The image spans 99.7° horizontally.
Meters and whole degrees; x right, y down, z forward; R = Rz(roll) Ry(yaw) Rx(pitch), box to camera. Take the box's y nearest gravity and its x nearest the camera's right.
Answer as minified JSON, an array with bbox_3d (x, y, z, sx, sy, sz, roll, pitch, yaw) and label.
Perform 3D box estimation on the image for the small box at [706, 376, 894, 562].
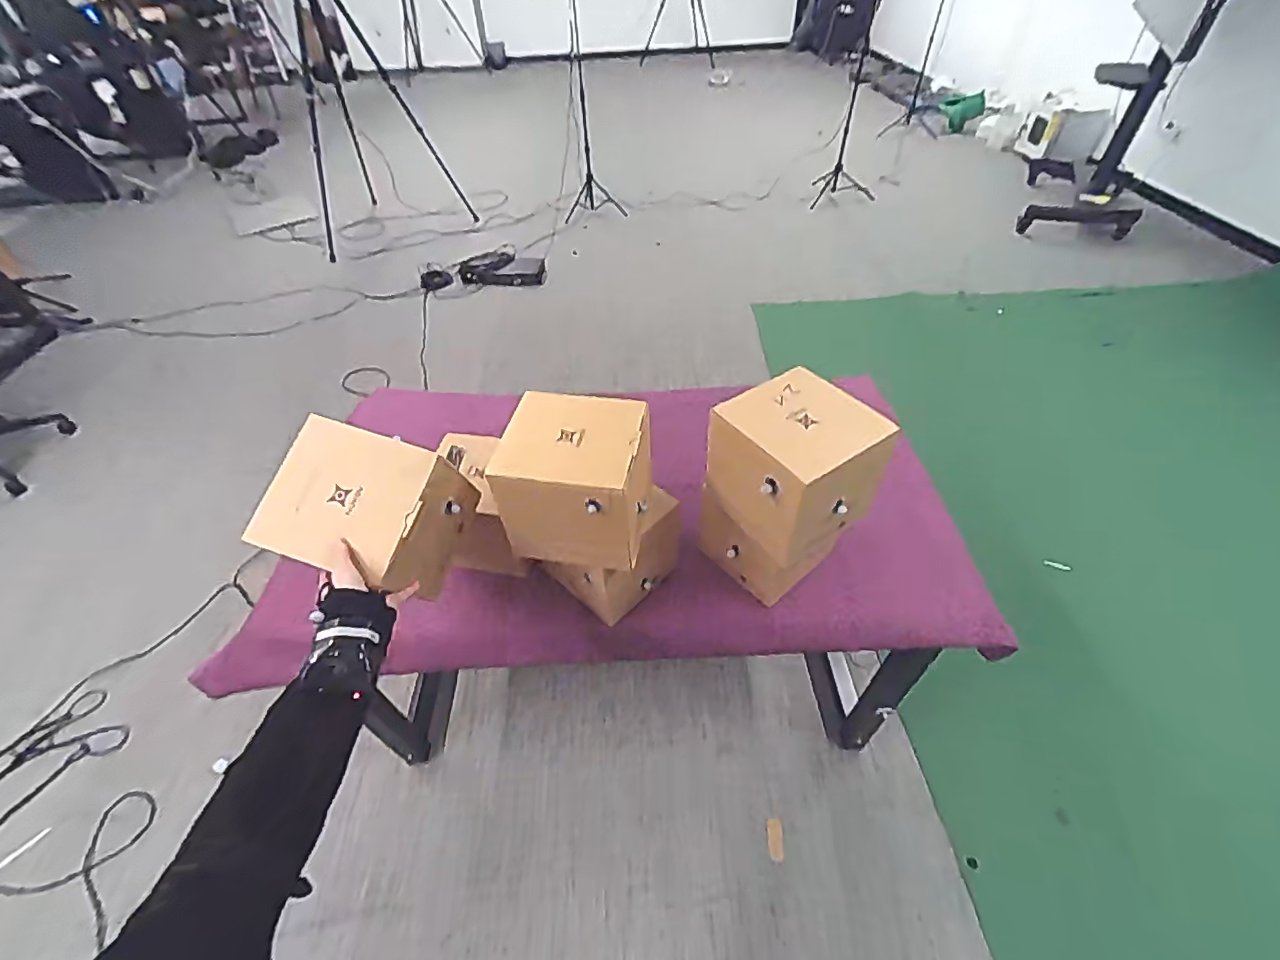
[{"bbox_3d":[0.208,-0.010,0.752,0.168,0.176,0.179,-26,49,-22],"label":"small box"}]

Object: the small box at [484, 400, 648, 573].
[{"bbox_3d":[-0.087,0.011,0.745,0.179,0.176,0.168,6,46,7],"label":"small box"}]

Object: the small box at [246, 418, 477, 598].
[{"bbox_3d":[-0.335,0.047,0.696,0.179,0.176,0.168,17,73,6],"label":"small box"}]

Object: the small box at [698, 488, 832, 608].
[{"bbox_3d":[0.213,0.077,0.897,0.179,0.176,0.168,-33,53,-26],"label":"small box"}]

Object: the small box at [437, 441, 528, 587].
[{"bbox_3d":[-0.277,0.062,0.937,0.179,0.176,0.168,14,49,9],"label":"small box"}]
